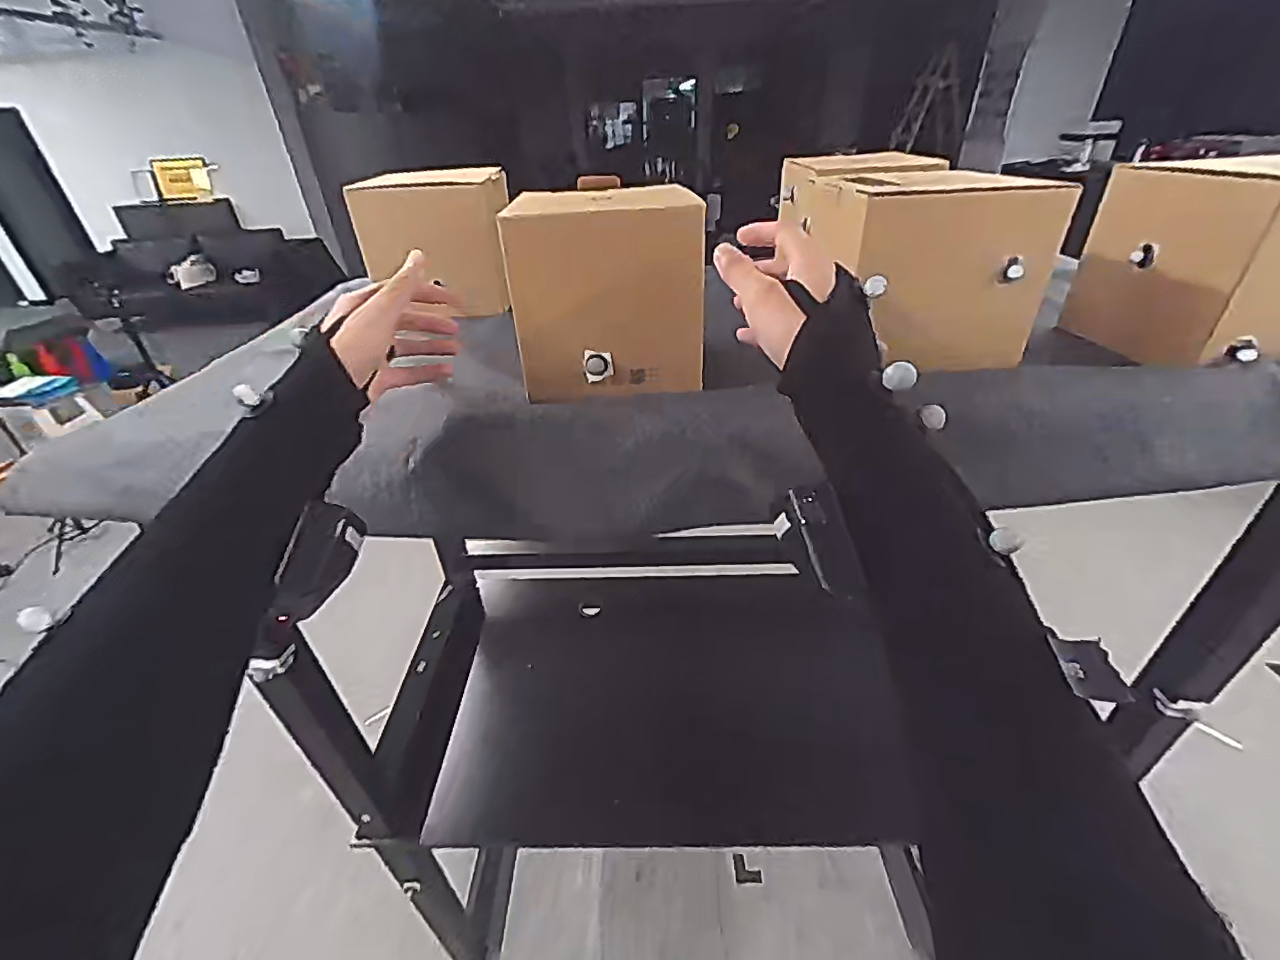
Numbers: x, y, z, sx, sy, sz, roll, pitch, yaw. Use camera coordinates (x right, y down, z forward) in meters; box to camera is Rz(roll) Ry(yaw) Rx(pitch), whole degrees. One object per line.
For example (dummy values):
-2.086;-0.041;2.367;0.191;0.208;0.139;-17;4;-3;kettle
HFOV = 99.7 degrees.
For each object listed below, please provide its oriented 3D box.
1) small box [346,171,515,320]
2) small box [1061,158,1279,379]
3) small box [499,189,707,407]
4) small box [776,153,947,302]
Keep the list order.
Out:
-0.277;-0.337;0.775;0.179;0.176;0.168;-2;34;-1;small box
0.566;-0.202;0.519;0.168;0.176;0.179;-4;33;-1;small box
-0.031;-0.184;0.533;0.168;0.176;0.179;-5;32;-2;small box
0.300;-0.360;0.775;0.168;0.176;0.179;-3;34;1;small box
